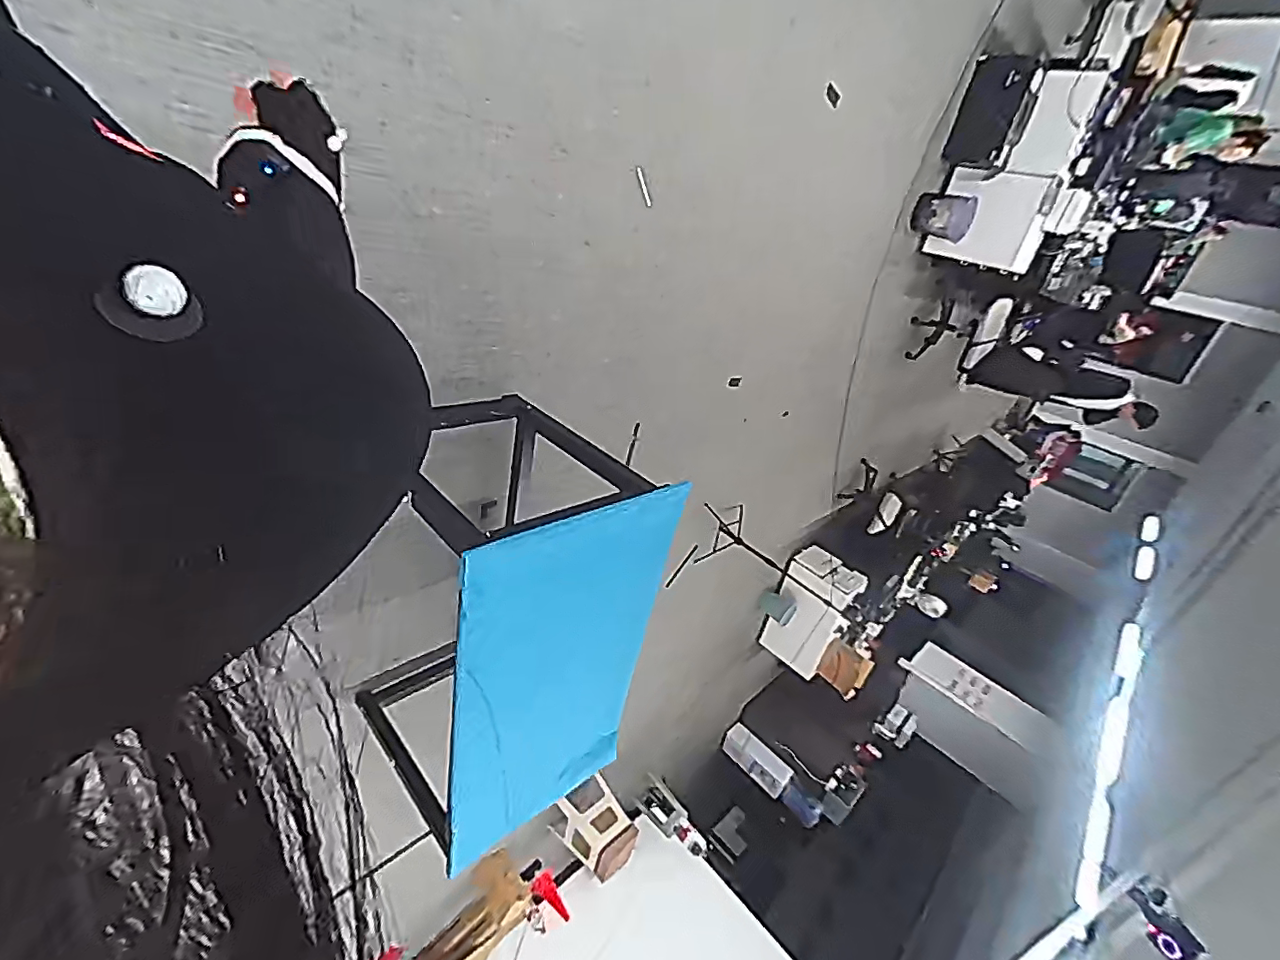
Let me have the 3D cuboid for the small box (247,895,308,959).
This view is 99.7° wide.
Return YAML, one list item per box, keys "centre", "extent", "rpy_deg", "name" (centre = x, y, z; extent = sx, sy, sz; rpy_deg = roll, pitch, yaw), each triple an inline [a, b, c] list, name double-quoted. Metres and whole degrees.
- centre: [-1.473, 1.855, 2.193]
  extent: [0.179, 0.176, 0.168]
  rpy_deg: [-15, 128, -46]
  name: "small box"

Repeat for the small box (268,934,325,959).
- centre: [-1.359, 1.941, 2.105]
  extent: [0.168, 0.176, 0.179]
  rpy_deg: [-54, 147, -3]
  name: "small box"
